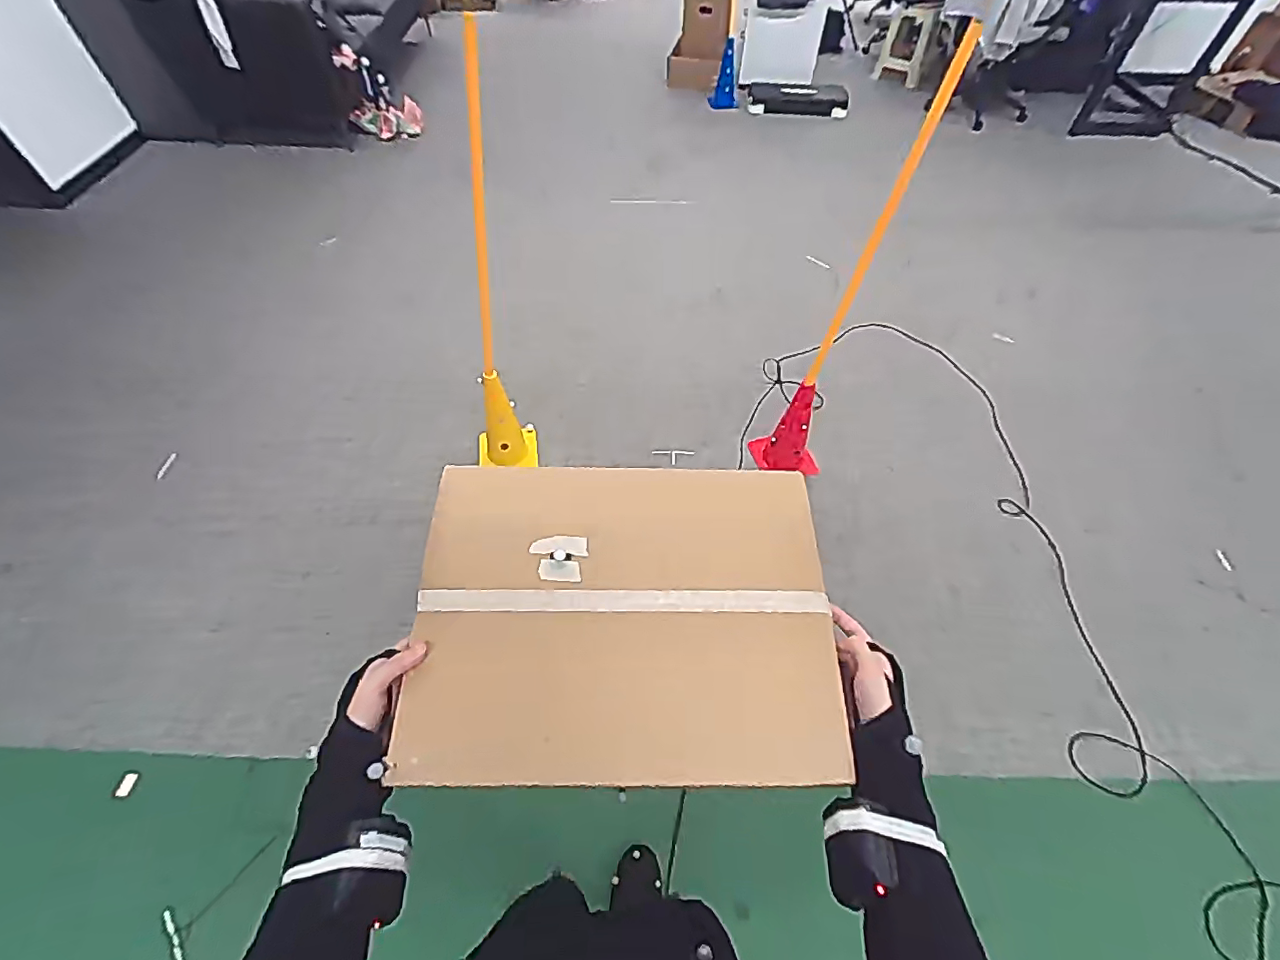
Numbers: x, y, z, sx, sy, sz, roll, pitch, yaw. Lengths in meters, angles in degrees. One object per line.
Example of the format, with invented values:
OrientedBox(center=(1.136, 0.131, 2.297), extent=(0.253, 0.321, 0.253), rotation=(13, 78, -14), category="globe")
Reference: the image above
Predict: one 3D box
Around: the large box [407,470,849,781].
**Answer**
OrientedBox(center=(-0.012, 0.198, 0.682), extent=(0.408, 0.320, 0.320), rotation=(0, 59, -1), category="large box")
